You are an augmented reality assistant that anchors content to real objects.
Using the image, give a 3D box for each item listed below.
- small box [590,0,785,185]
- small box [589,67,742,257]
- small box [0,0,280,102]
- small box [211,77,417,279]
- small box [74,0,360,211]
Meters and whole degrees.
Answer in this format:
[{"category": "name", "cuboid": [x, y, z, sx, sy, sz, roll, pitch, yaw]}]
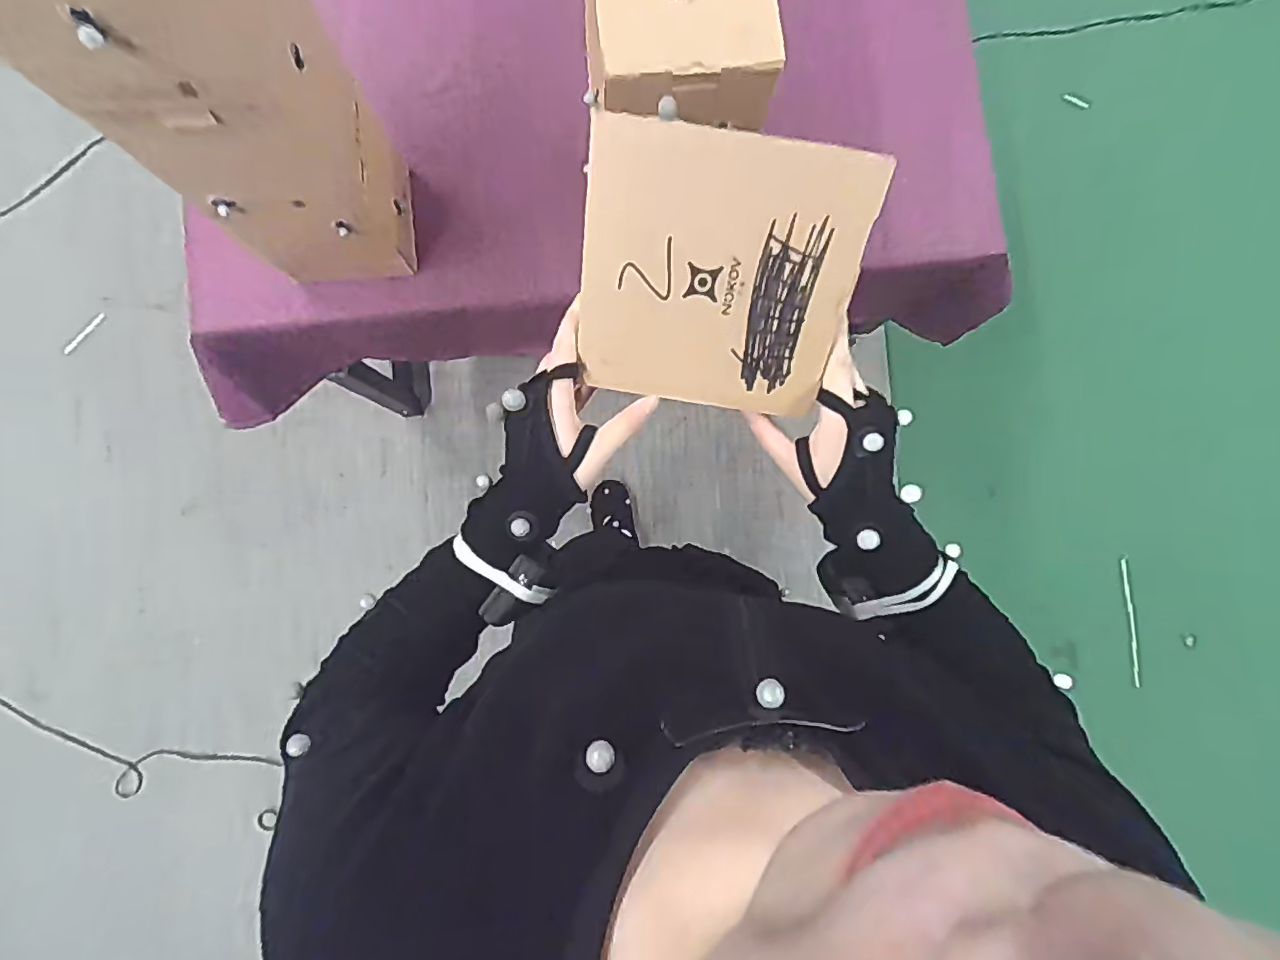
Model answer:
[{"category": "small box", "cuboid": [0.038, -0.436, 0.567, 0.168, 0.176, 0.179, -7, 86, -5]}, {"category": "small box", "cuboid": [0.027, -0.418, 0.729, 0.179, 0.176, 0.168, -4, 87, -4]}, {"category": "small box", "cuboid": [-0.380, -0.397, 0.373, 0.168, 0.176, 0.179, -6, 87, -5]}, {"category": "small box", "cuboid": [-0.410, -0.376, 0.700, 0.179, 0.176, 0.168, -6, 86, -5]}, {"category": "small box", "cuboid": [-0.398, -0.390, 0.537, 0.168, 0.176, 0.179, -7, 85, -5]}]
